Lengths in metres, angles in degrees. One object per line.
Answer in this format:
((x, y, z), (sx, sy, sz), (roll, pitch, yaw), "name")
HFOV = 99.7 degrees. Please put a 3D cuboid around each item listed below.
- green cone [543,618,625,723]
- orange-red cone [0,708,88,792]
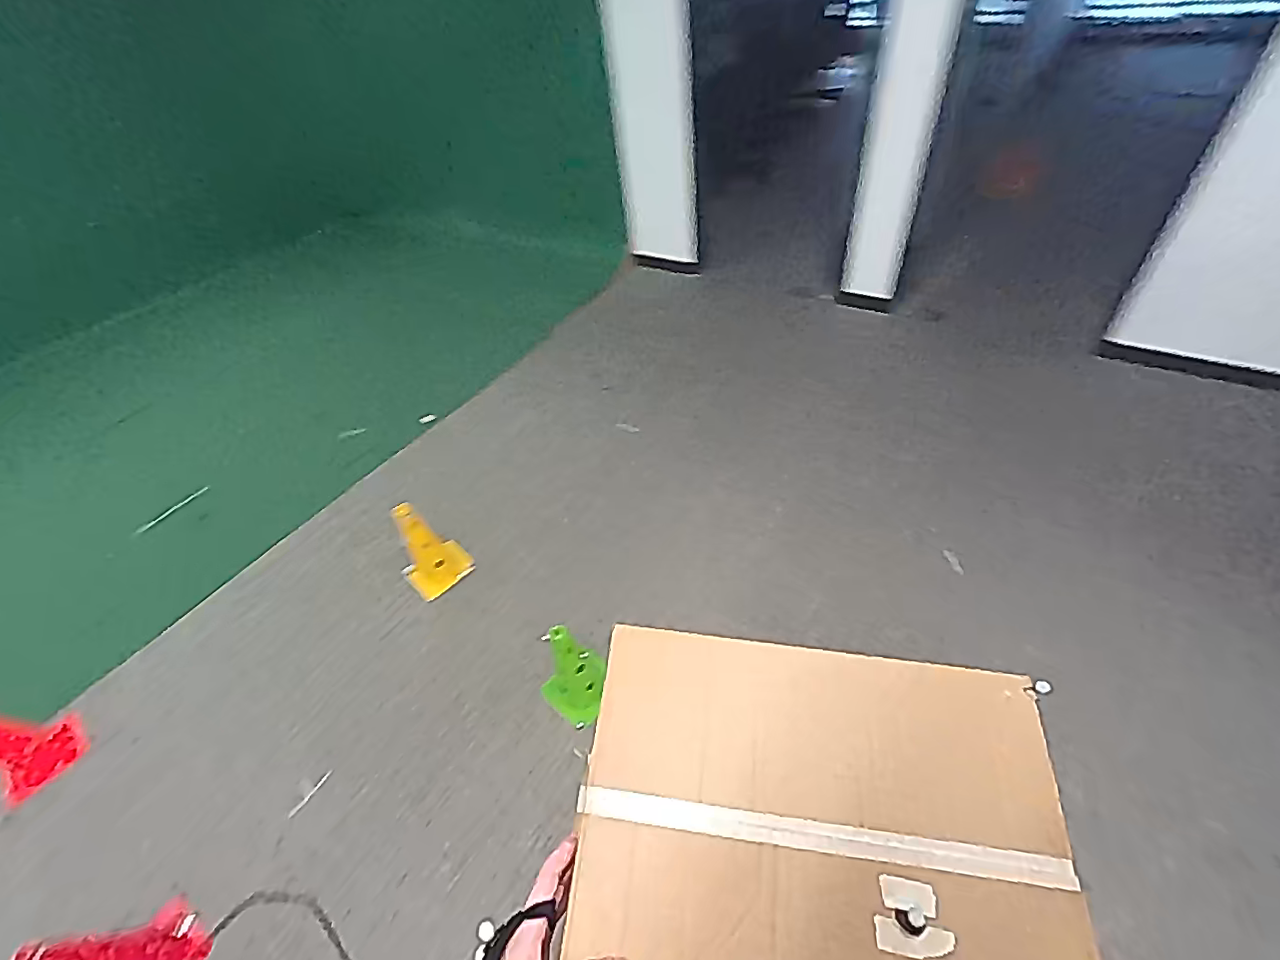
((-0.196, 0.508, 1.566), (0.202, 0.368, 0.200), (29, 56, 32), "green cone")
((-1.902, 0.740, 1.598), (0.198, 0.360, 0.199), (31, 59, 32), "orange-red cone")
